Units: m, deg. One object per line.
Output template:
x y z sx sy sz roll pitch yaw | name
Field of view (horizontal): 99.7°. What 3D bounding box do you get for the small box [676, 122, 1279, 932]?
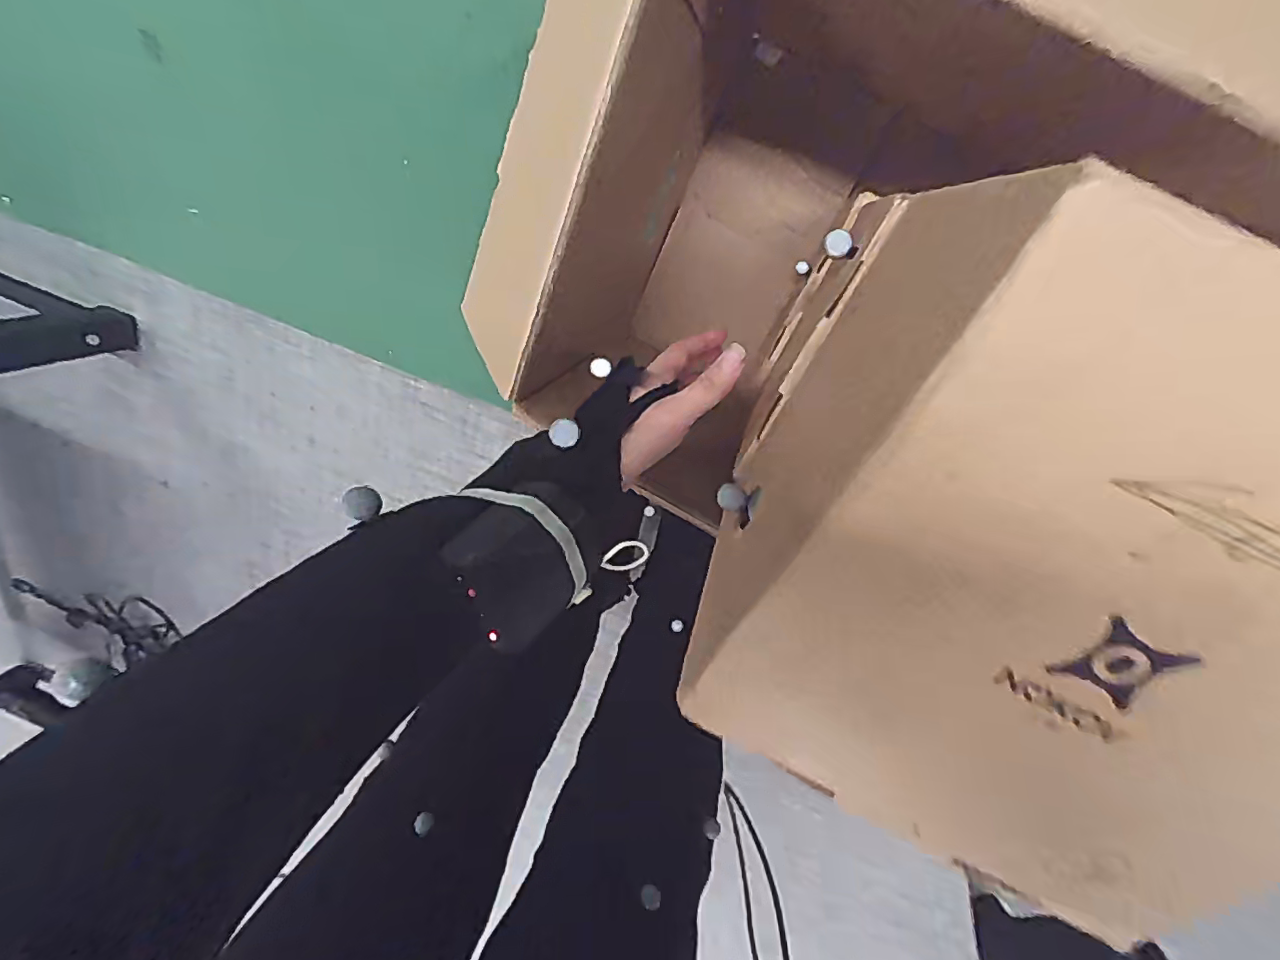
0.136 0.007 0.205 0.168 0.176 0.179 27 118 2 | small box
